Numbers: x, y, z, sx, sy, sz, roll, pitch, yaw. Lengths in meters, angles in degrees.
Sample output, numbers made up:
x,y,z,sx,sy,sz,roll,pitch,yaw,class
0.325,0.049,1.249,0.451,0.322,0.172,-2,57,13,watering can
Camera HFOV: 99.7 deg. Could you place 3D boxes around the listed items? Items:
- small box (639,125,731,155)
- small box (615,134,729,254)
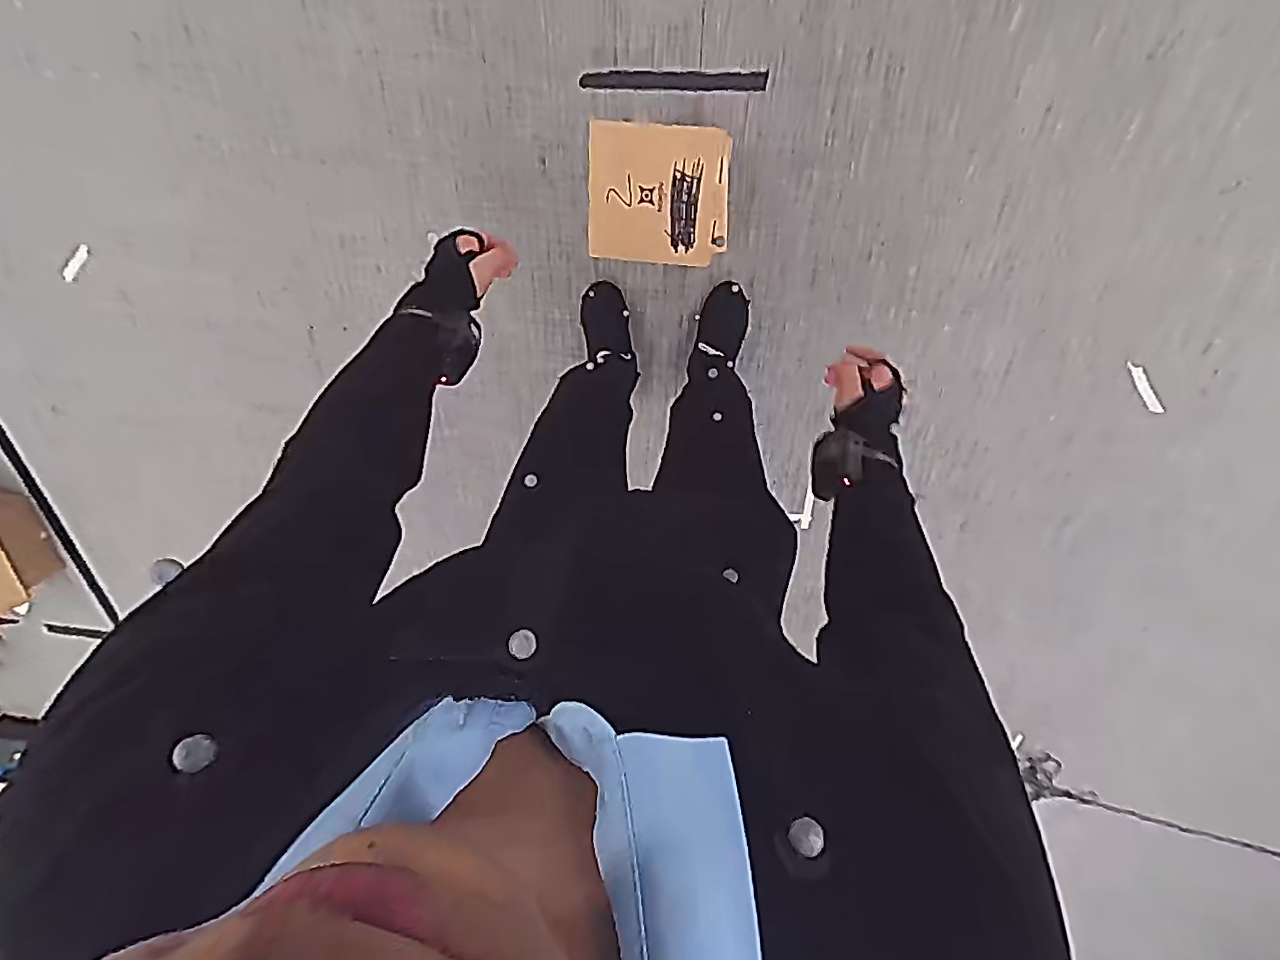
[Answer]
x,y,z,sx,sy,sz,roll,pitch,yaw,class
0.081,-0.581,1.060,0.168,0.176,0.179,7,120,2,small box
0.059,-0.491,0.926,0.179,0.176,0.168,0,120,8,small box
